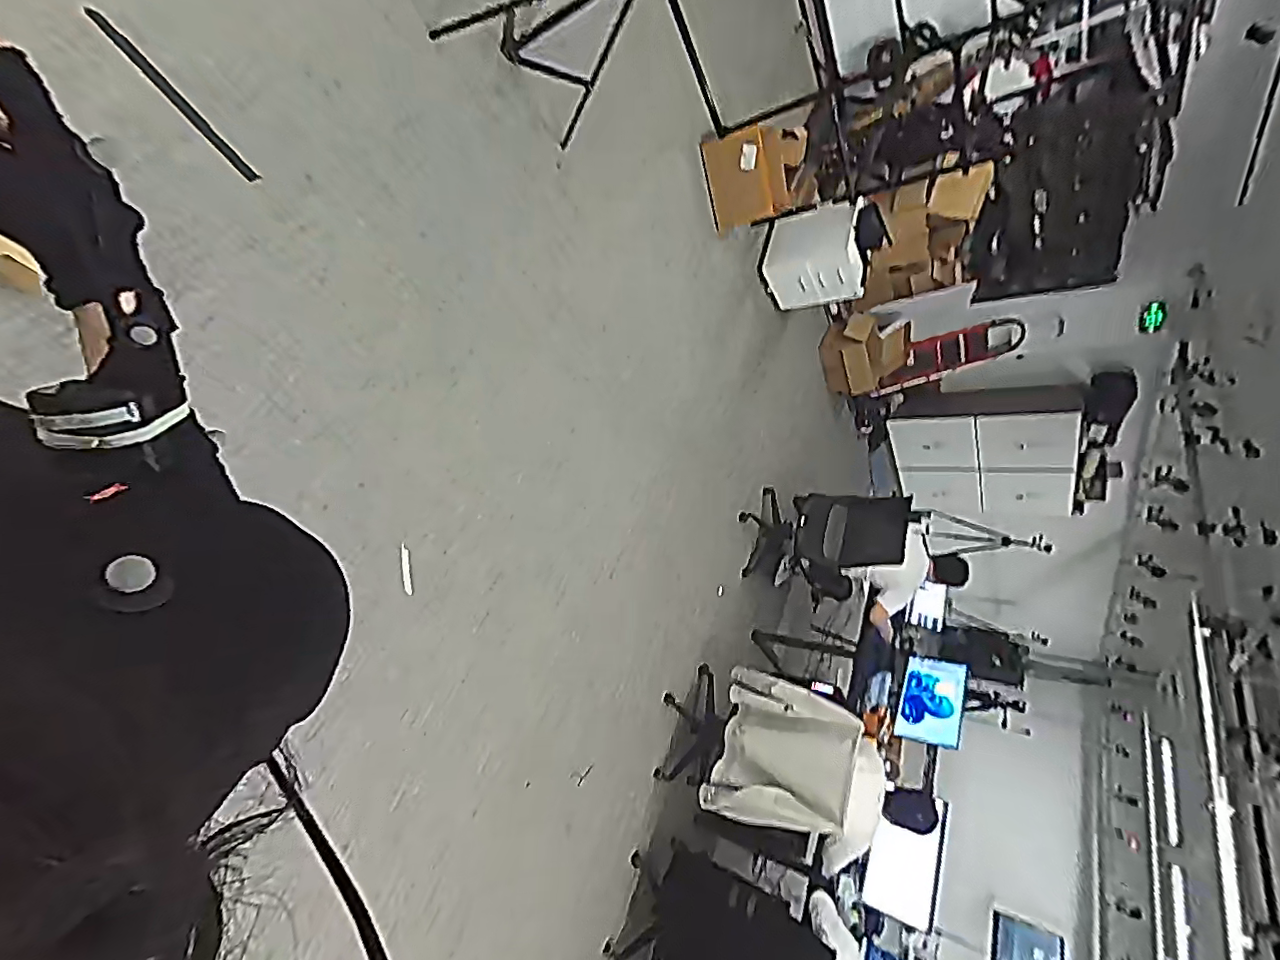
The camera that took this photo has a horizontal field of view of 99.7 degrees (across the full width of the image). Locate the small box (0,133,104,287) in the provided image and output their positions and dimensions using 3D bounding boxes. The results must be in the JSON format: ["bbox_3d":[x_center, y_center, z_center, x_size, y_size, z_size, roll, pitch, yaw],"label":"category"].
[{"bbox_3d":[-1.122,-0.469,0.958,0.168,0.176,0.179,47,56,-44],"label":"small box"}]
